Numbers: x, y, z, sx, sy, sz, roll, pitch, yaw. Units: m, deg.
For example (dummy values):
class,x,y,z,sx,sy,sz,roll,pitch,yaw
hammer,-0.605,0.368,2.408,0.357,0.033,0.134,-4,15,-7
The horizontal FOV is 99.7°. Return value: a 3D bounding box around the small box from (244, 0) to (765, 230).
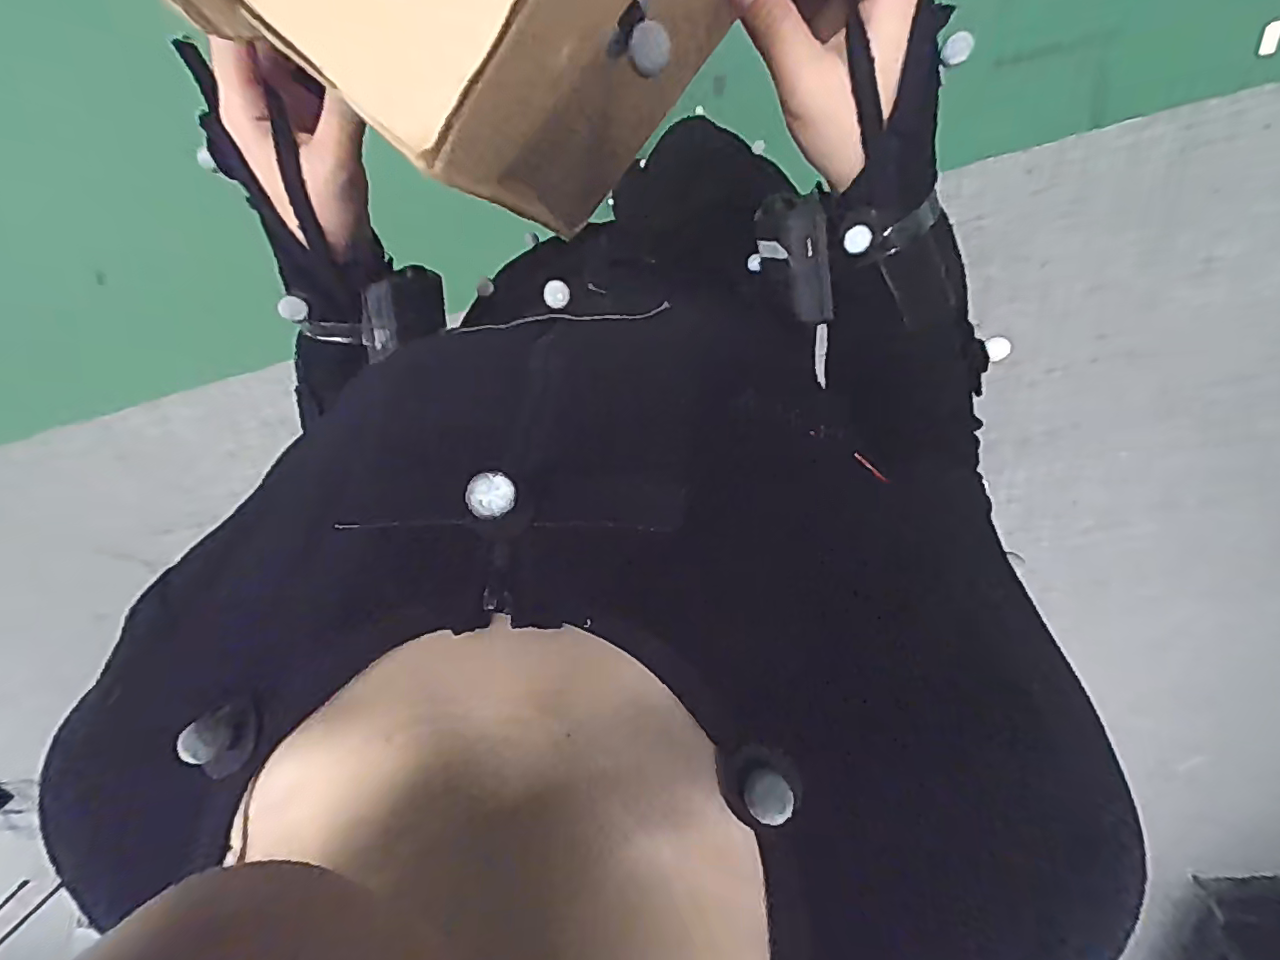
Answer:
class,x,y,z,sx,sy,sz,roll,pitch,yaw
small box,-0.047,-0.220,0.196,0.168,0.176,0.179,40,108,-7
